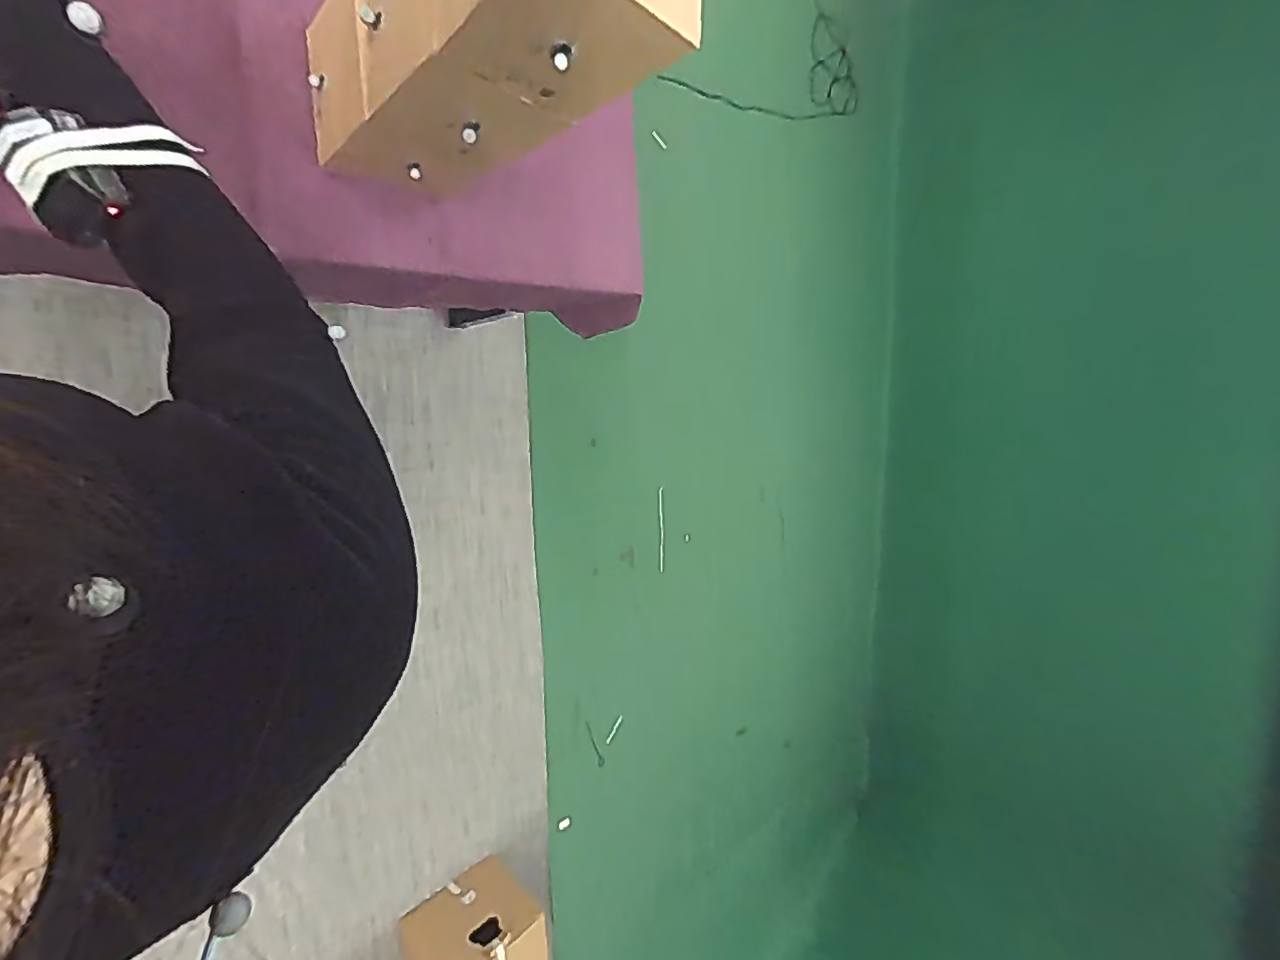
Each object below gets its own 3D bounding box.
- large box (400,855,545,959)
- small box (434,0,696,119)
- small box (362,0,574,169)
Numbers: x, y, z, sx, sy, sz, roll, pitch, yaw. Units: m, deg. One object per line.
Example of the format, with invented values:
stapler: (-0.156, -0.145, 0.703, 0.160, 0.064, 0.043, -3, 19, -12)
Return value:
large box: (-0.508, 1.498, 1.665, 0.320, 0.320, 0.408, -11, 104, -46)
small box: (-0.068, -0.457, 0.467, 0.168, 0.176, 0.179, -7, 99, -45)
small box: (-0.185, -0.470, 0.583, 0.168, 0.176, 0.179, -5, 98, -46)
